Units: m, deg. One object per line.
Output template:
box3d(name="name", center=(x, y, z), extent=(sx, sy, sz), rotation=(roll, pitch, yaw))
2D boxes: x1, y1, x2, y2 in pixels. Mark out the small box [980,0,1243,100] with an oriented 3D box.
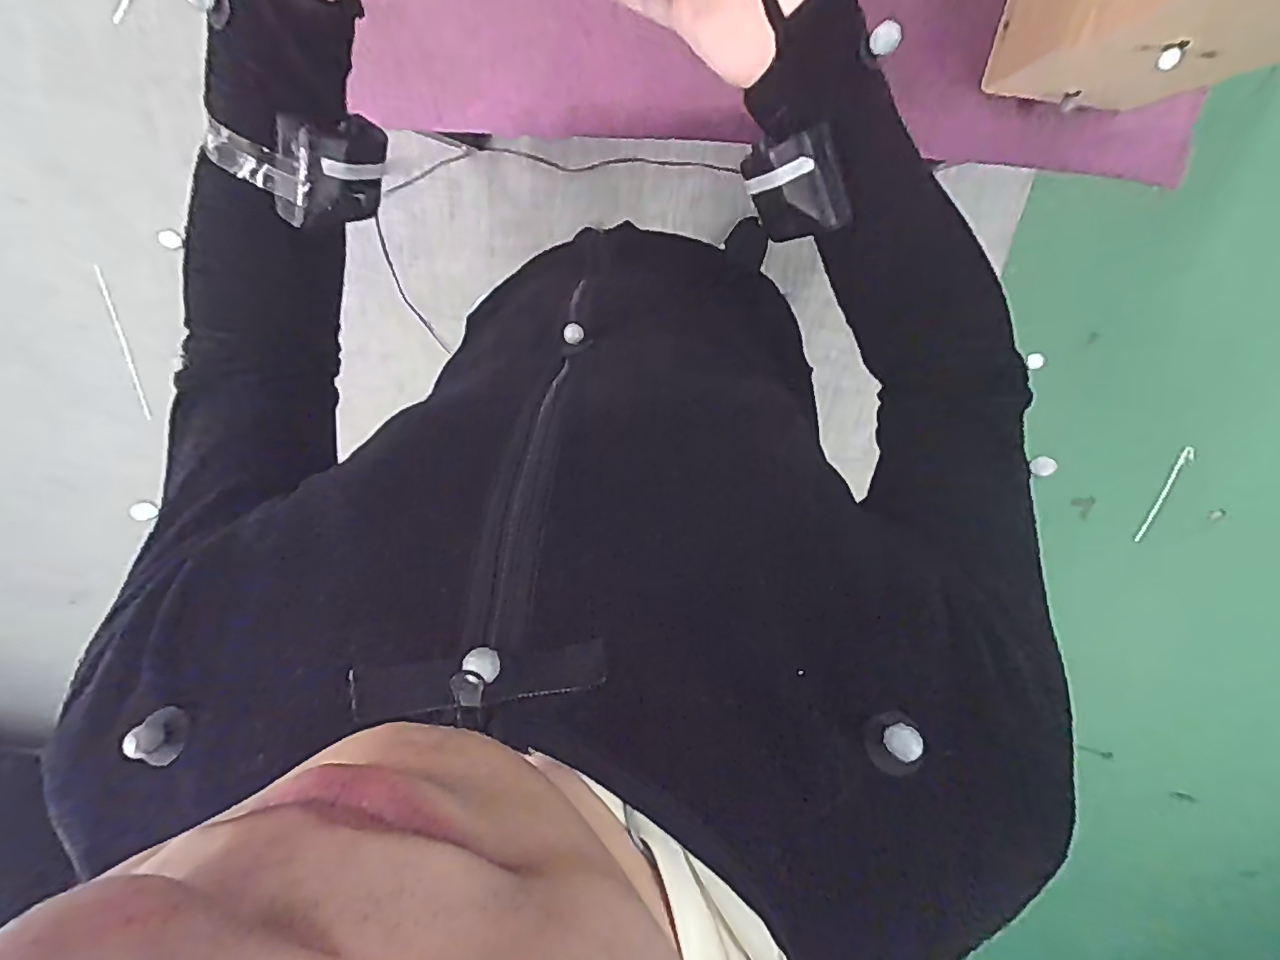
box3d(name="small box", center=(0.494, -0.505, 0.545), extent=(0.179, 0.176, 0.168), rotation=(8, 114, 1))
